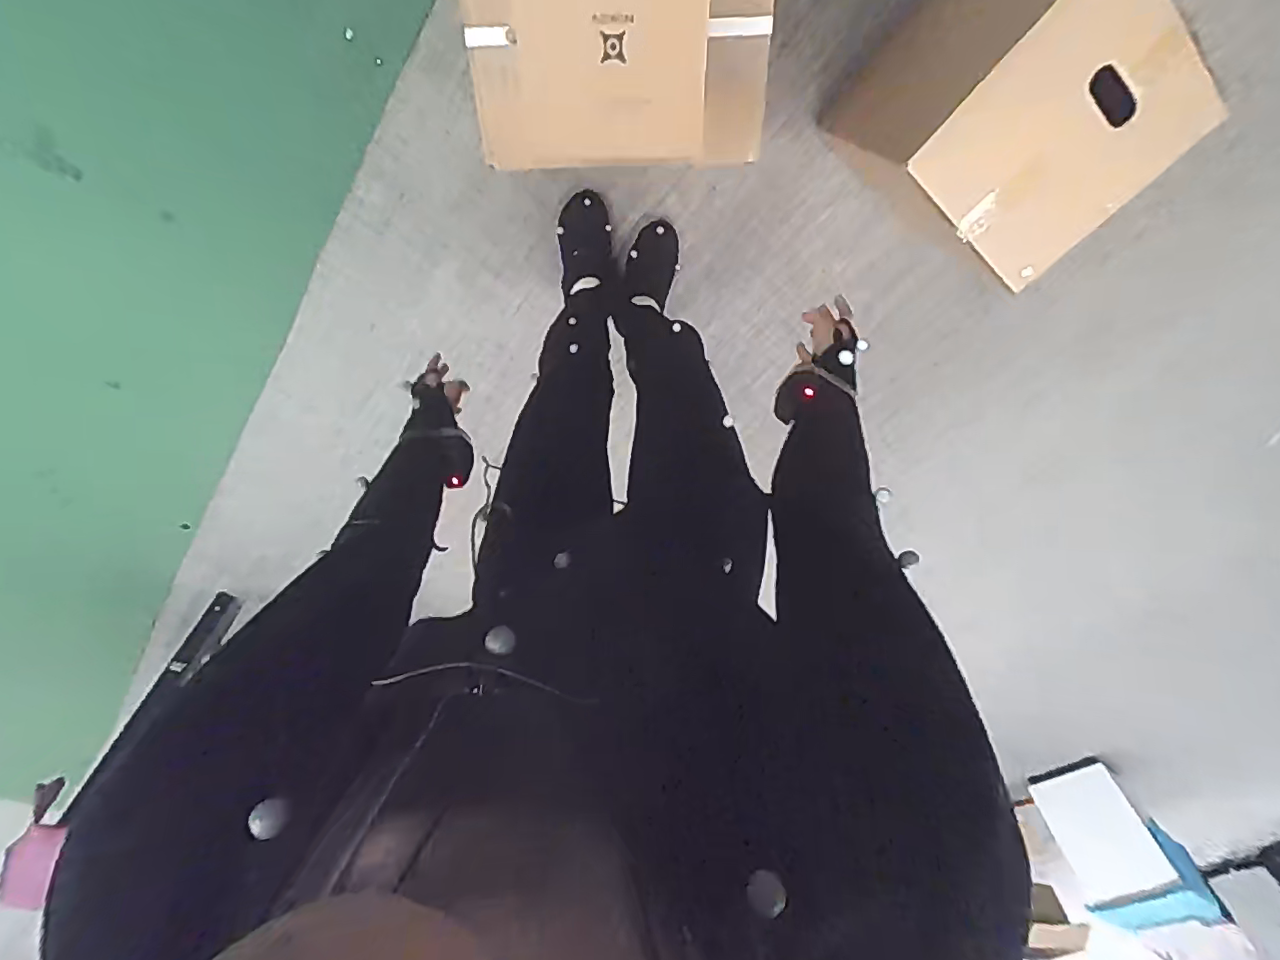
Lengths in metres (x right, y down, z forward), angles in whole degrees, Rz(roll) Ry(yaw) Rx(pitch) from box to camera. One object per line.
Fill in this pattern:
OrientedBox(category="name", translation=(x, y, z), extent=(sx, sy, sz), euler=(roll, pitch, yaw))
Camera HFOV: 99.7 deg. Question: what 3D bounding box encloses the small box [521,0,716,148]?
OrientedBox(category="small box", translation=(-0.021, -0.431, 0.520), extent=(0.168, 0.176, 0.179), euler=(-1, 129, -1))
